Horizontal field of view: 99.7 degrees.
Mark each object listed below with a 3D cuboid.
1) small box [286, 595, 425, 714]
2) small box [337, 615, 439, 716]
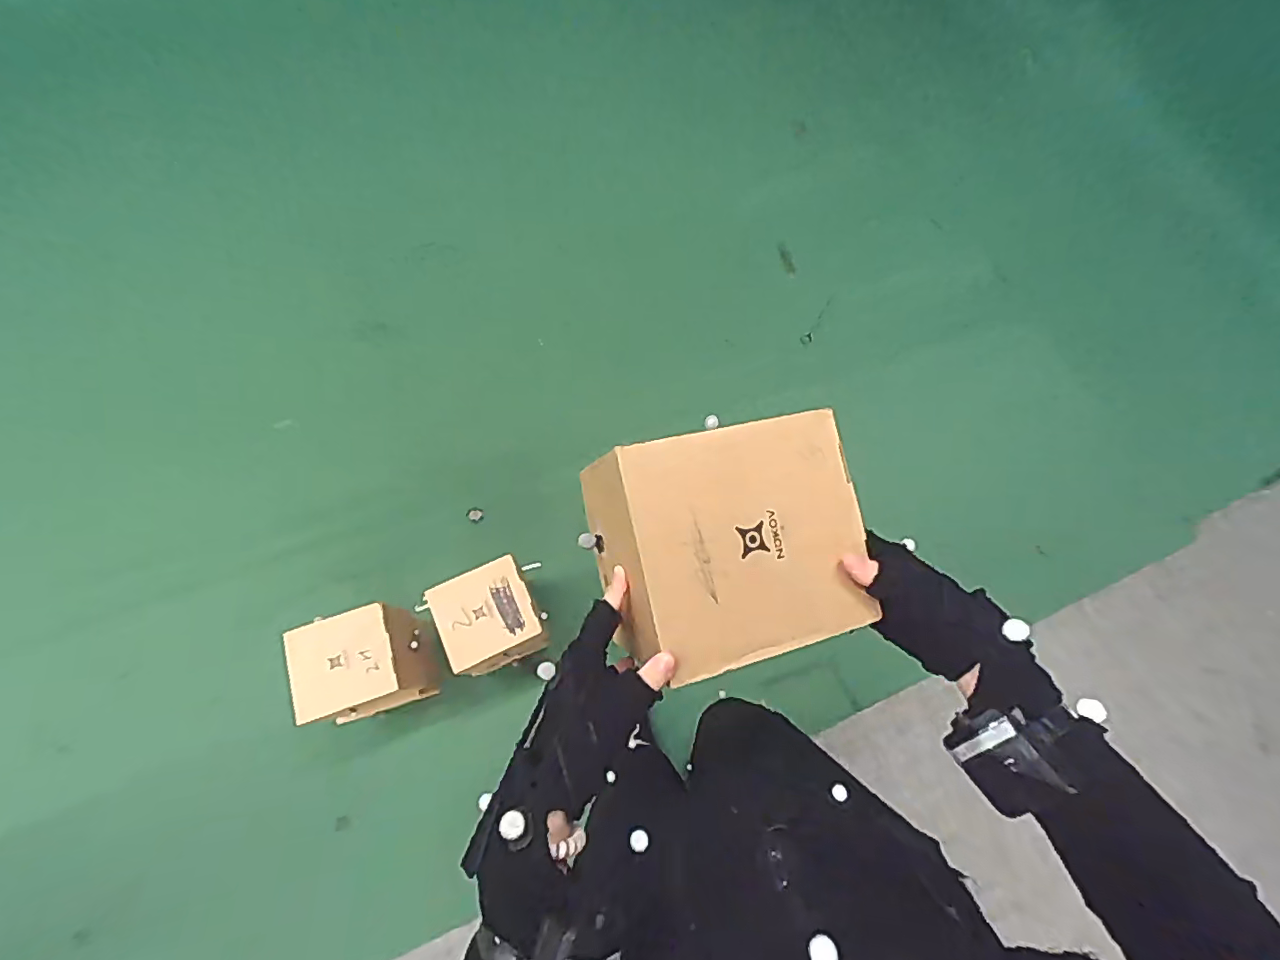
[{"bbox_3d":[-0.542,0.337,1.046,0.179,0.176,0.168,-17,74,-10],"label":"small box"},{"bbox_3d":[-0.561,0.401,1.198,0.168,0.176,0.179,-16,73,-10],"label":"small box"}]
